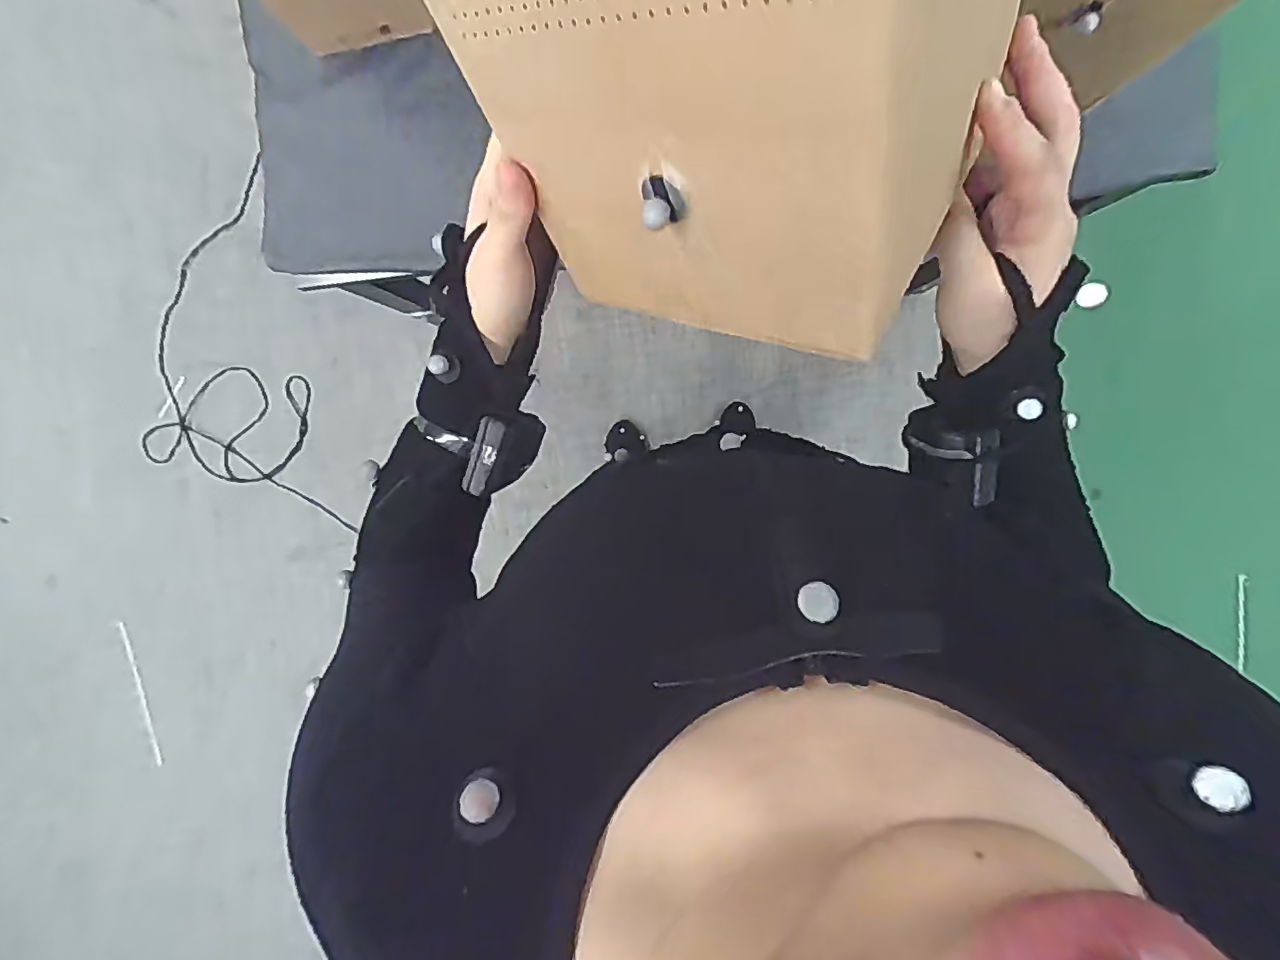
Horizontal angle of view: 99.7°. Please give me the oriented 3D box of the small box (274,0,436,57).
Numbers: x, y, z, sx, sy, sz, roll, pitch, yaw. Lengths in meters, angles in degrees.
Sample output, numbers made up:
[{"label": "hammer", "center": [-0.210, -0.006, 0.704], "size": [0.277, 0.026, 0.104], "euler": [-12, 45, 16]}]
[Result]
[{"label": "small box", "center": [-0.355, -0.635, 0.612], "size": [0.168, 0.176, 0.179], "euler": [-9, 97, 3]}]

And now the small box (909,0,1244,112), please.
[{"label": "small box", "center": [0.355, -0.435, 0.443], "size": [0.179, 0.176, 0.168], "euler": [6, 96, 3]}]
